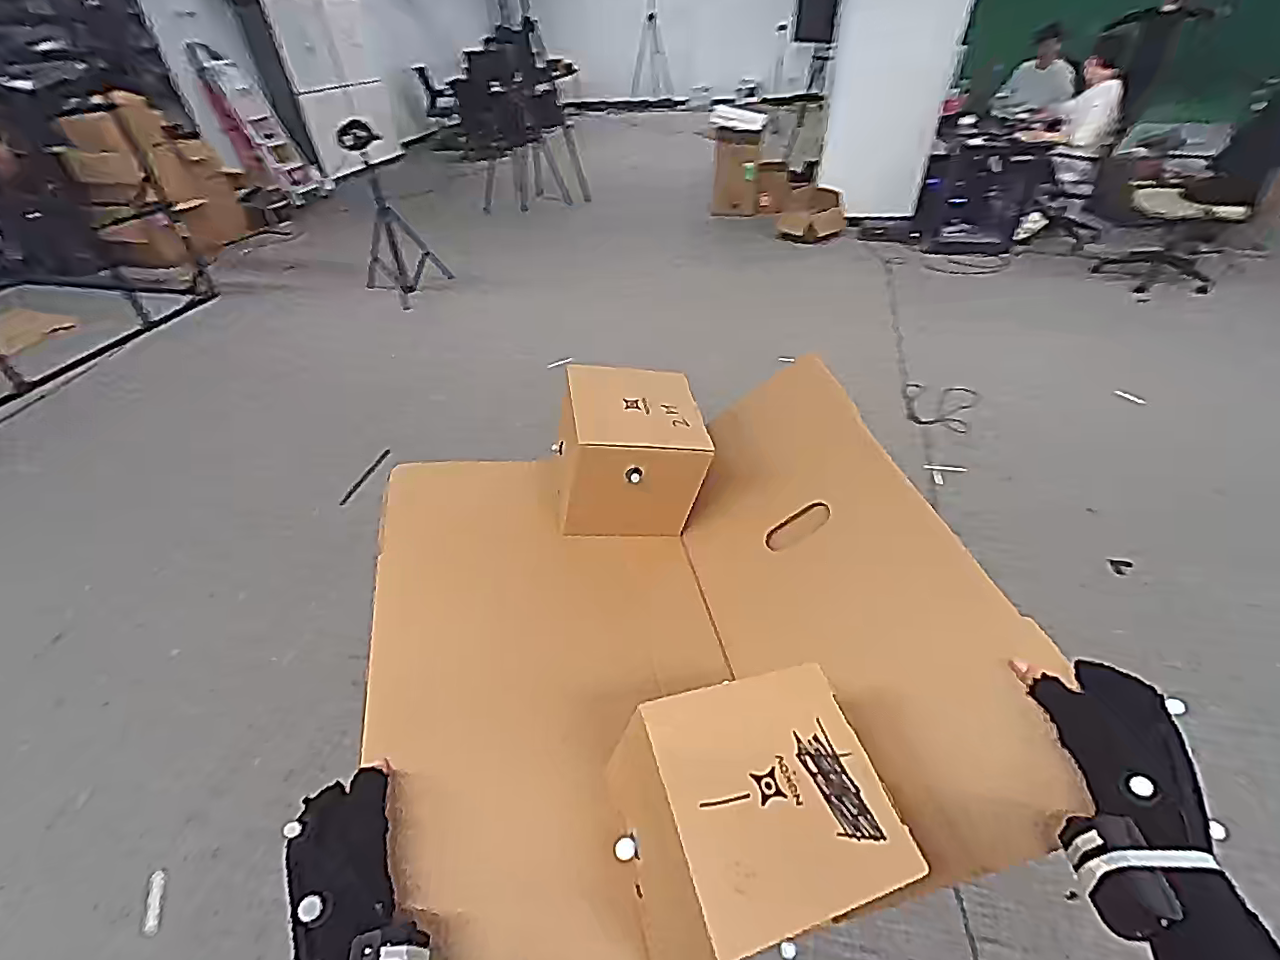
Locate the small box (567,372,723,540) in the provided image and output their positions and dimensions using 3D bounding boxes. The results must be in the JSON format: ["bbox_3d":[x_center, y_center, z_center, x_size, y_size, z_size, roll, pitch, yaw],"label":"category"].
[{"bbox_3d":[-0.008,-0.029,0.758,0.179,0.176,0.168,3,45,-15],"label":"small box"}]
